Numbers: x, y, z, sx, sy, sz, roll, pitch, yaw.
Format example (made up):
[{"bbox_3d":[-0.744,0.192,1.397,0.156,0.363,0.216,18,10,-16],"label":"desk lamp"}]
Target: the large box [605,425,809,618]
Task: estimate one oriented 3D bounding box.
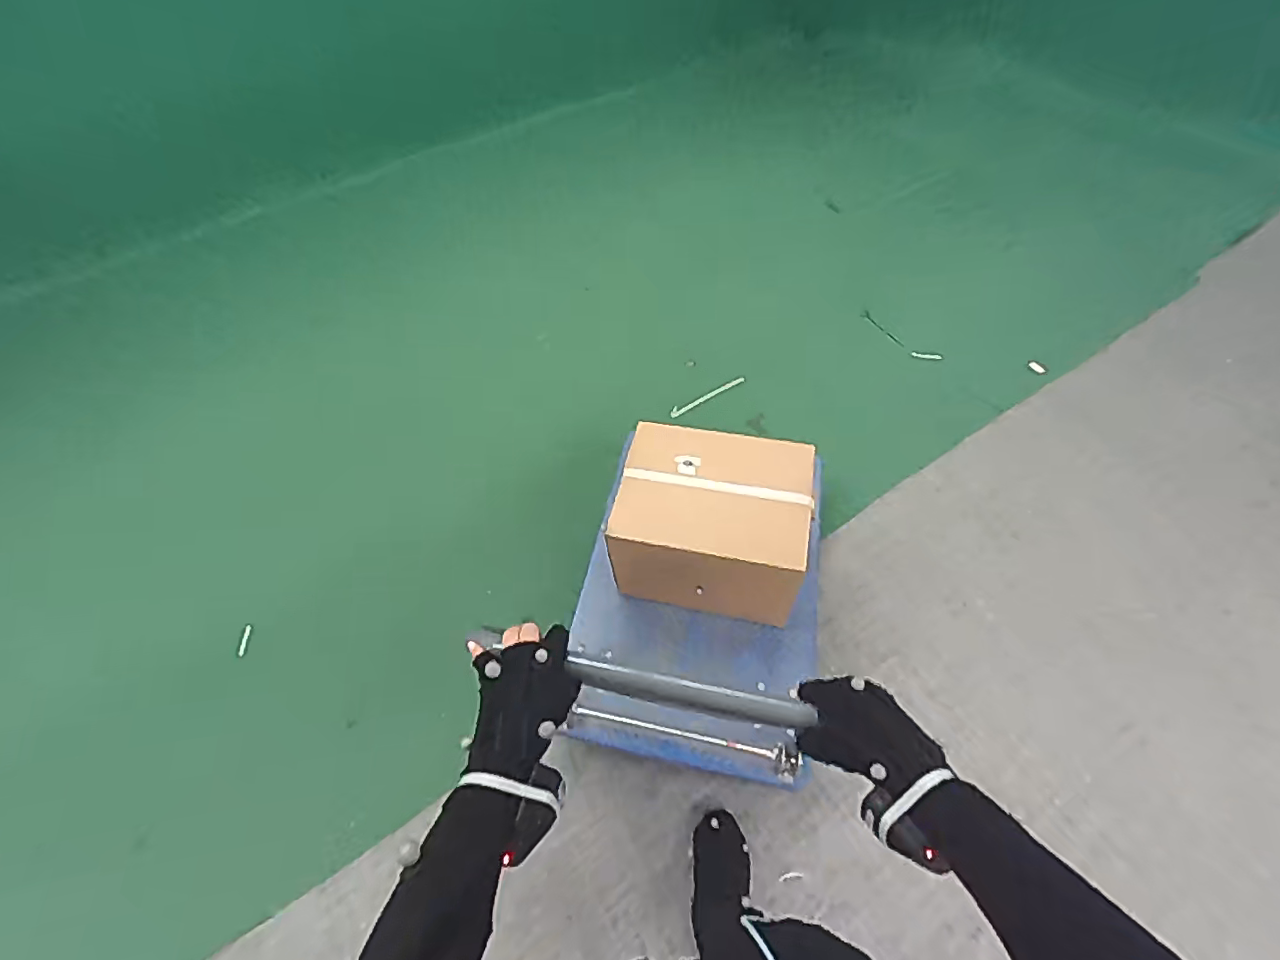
[{"bbox_3d":[0.167,0.101,1.282,0.408,0.320,0.320,8,56,12],"label":"large box"}]
